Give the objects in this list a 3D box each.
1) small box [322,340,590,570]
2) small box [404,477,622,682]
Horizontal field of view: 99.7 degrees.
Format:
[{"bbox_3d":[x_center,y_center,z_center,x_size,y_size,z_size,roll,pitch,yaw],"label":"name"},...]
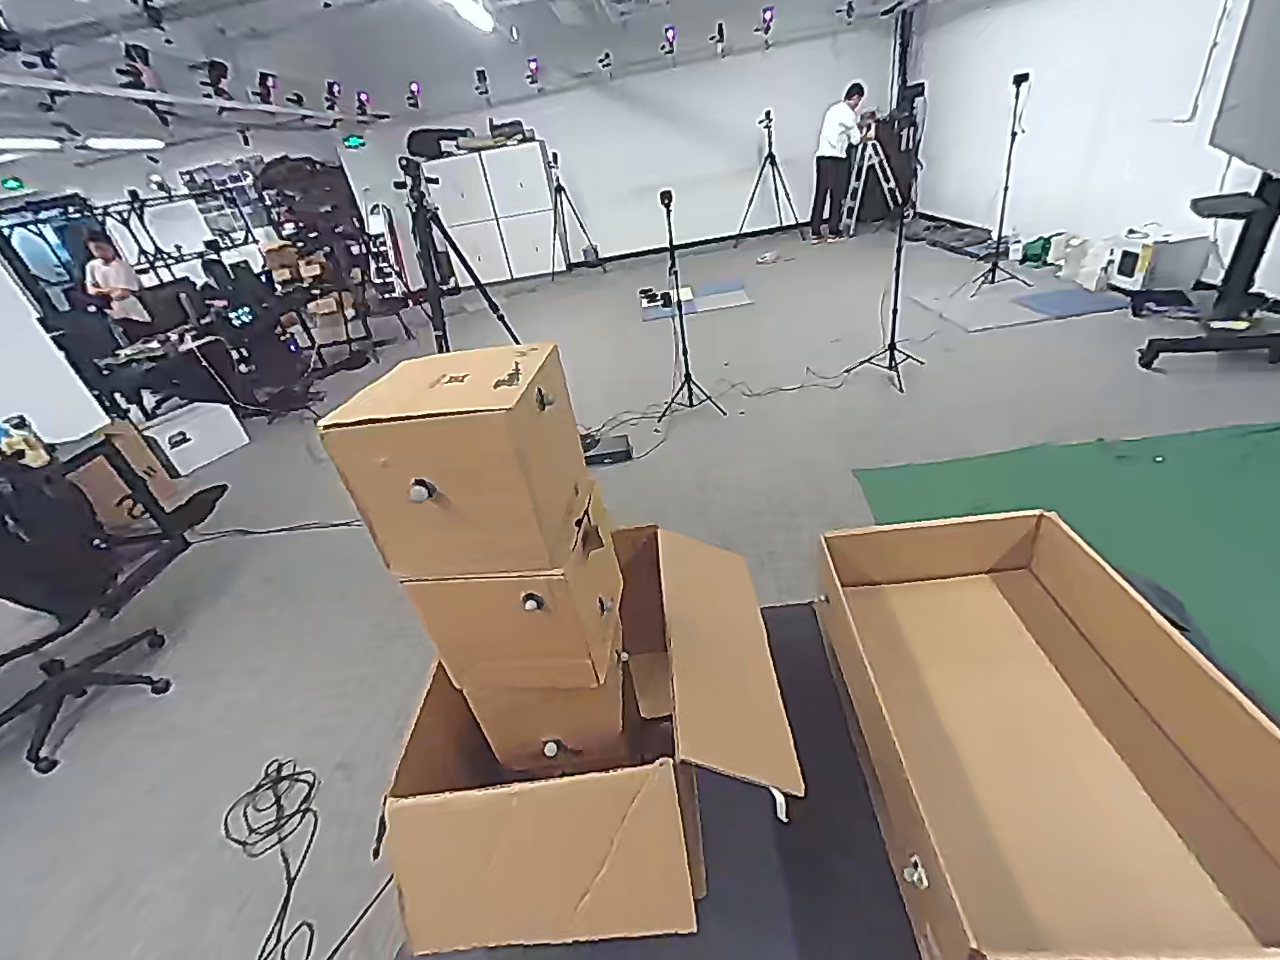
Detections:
[{"bbox_3d":[-0.162,-0.024,0.544,0.179,0.176,0.168,-5,33,9],"label":"small box"},{"bbox_3d":[-0.129,0.115,0.625,0.179,0.176,0.168,-4,33,10],"label":"small box"}]
